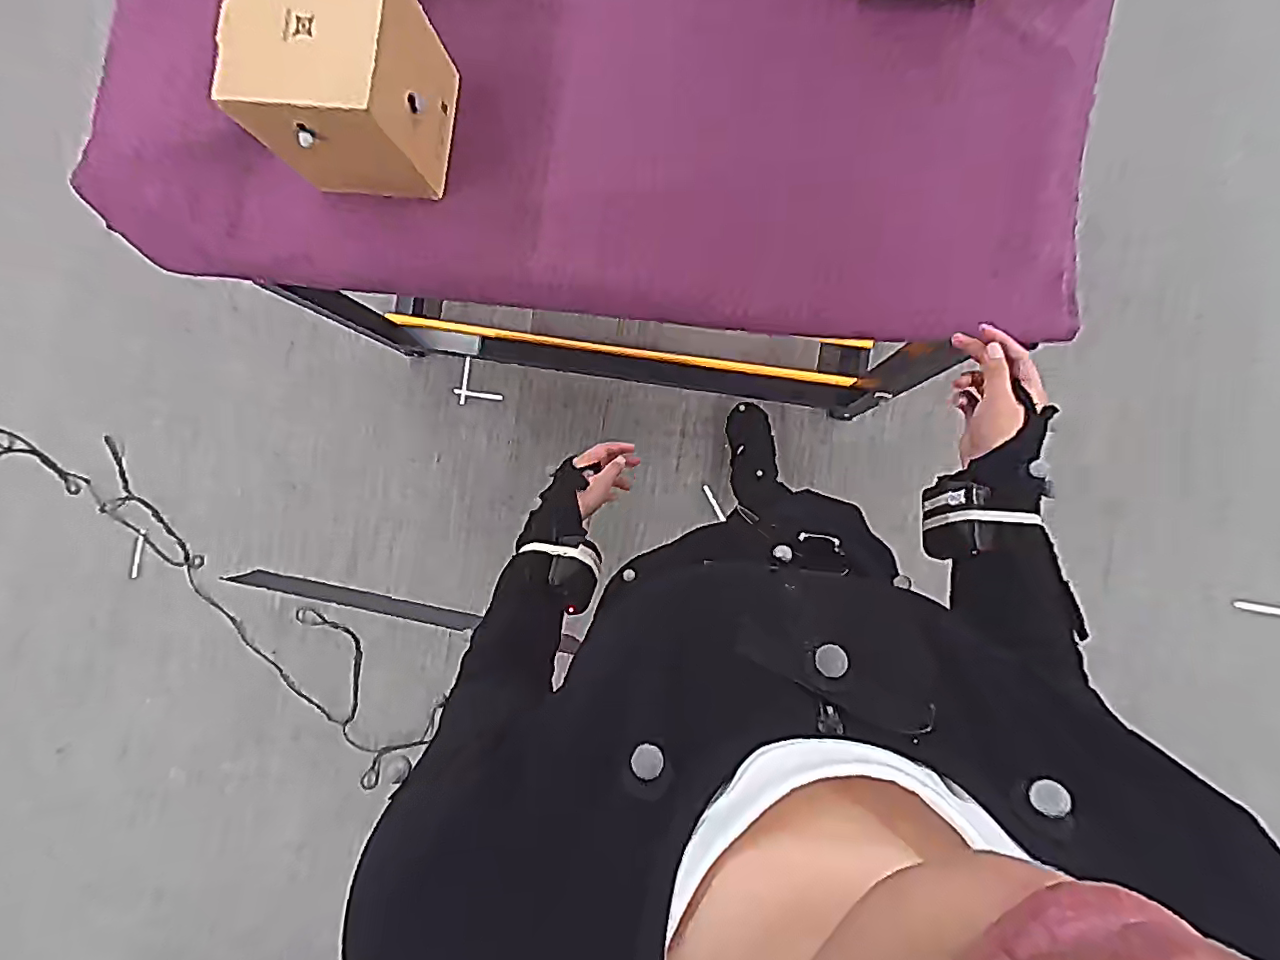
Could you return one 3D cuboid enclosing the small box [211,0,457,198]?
[{"bbox_3d":[-0.331,-0.448,0.618,0.179,0.176,0.168,7,89,6],"label":"small box"}]
